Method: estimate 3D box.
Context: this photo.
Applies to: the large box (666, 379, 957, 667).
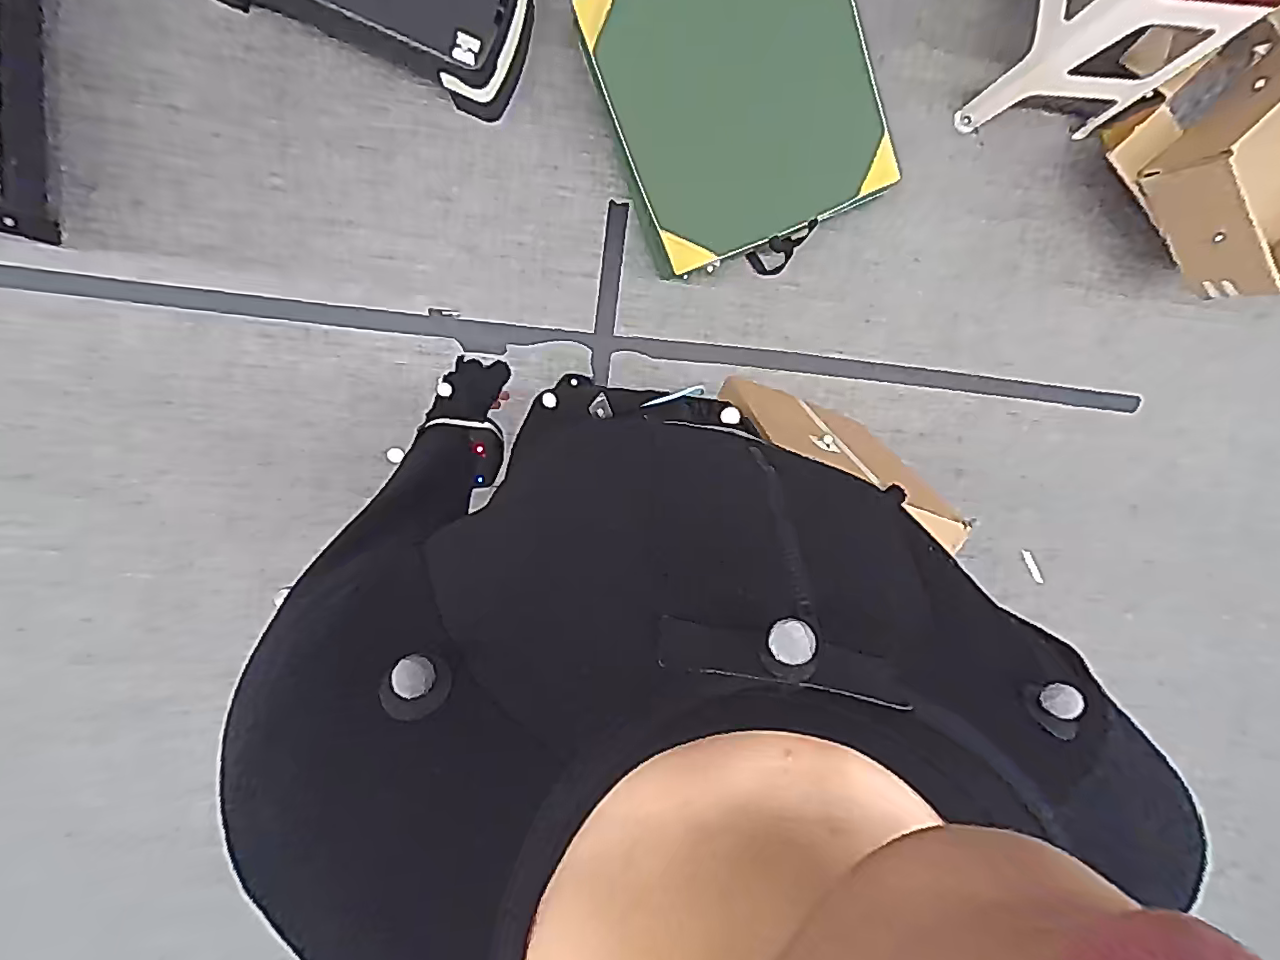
[{"bbox_3d":[0.262,0.062,0.999,0.320,0.408,0.320,17,116,-12],"label":"large box"}]
